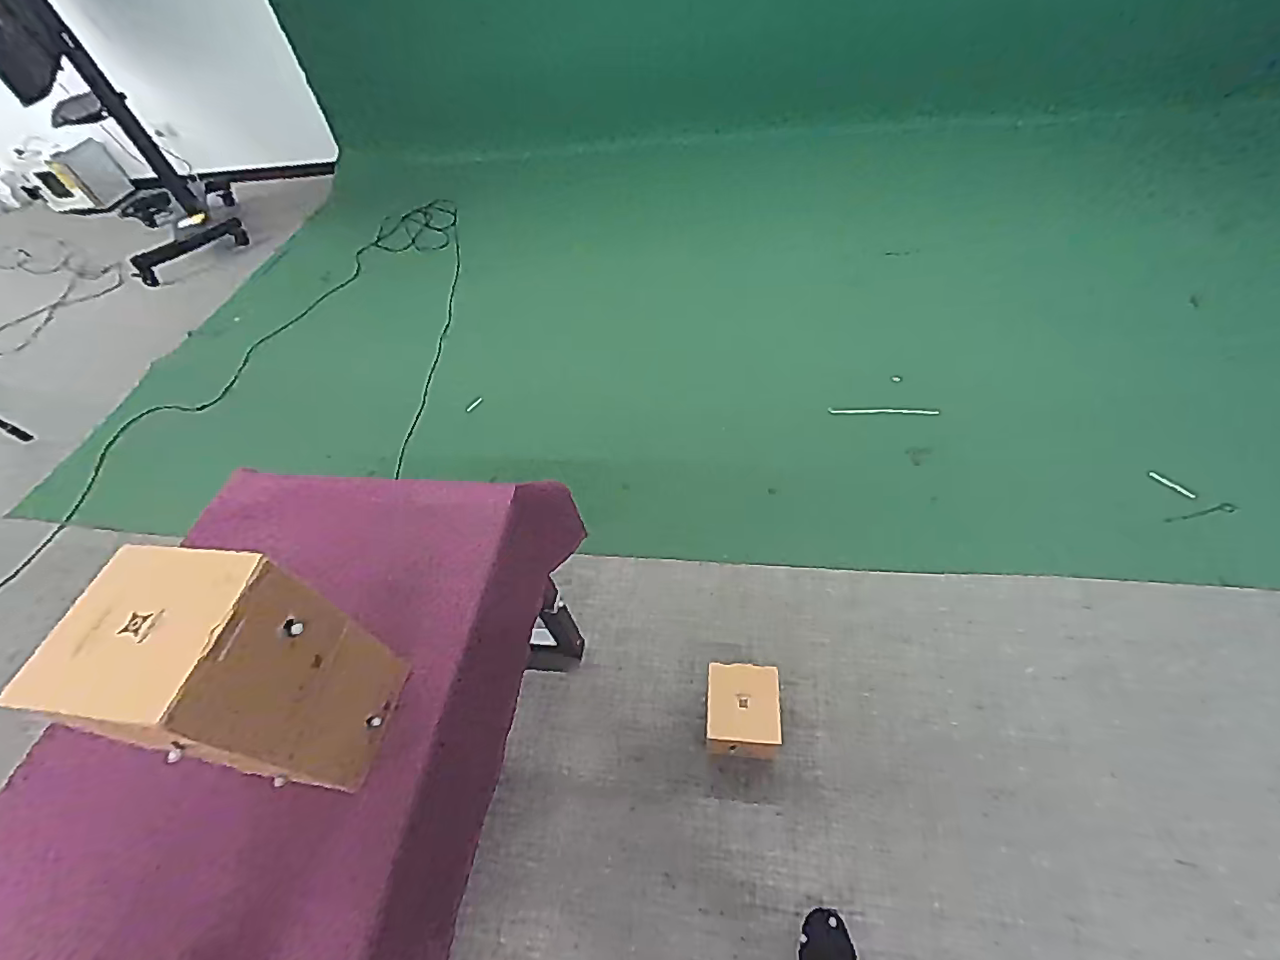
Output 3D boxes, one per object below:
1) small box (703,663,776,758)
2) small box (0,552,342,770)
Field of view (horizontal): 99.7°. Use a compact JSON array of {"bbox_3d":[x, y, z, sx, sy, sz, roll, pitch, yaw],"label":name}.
[{"bbox_3d":[0.240,0.565,1.319,0.168,0.176,0.179,0,52,8],"label":"small box"},{"bbox_3d":[-0.458,0.193,0.567,0.179,0.176,0.168,2,52,10],"label":"small box"}]
